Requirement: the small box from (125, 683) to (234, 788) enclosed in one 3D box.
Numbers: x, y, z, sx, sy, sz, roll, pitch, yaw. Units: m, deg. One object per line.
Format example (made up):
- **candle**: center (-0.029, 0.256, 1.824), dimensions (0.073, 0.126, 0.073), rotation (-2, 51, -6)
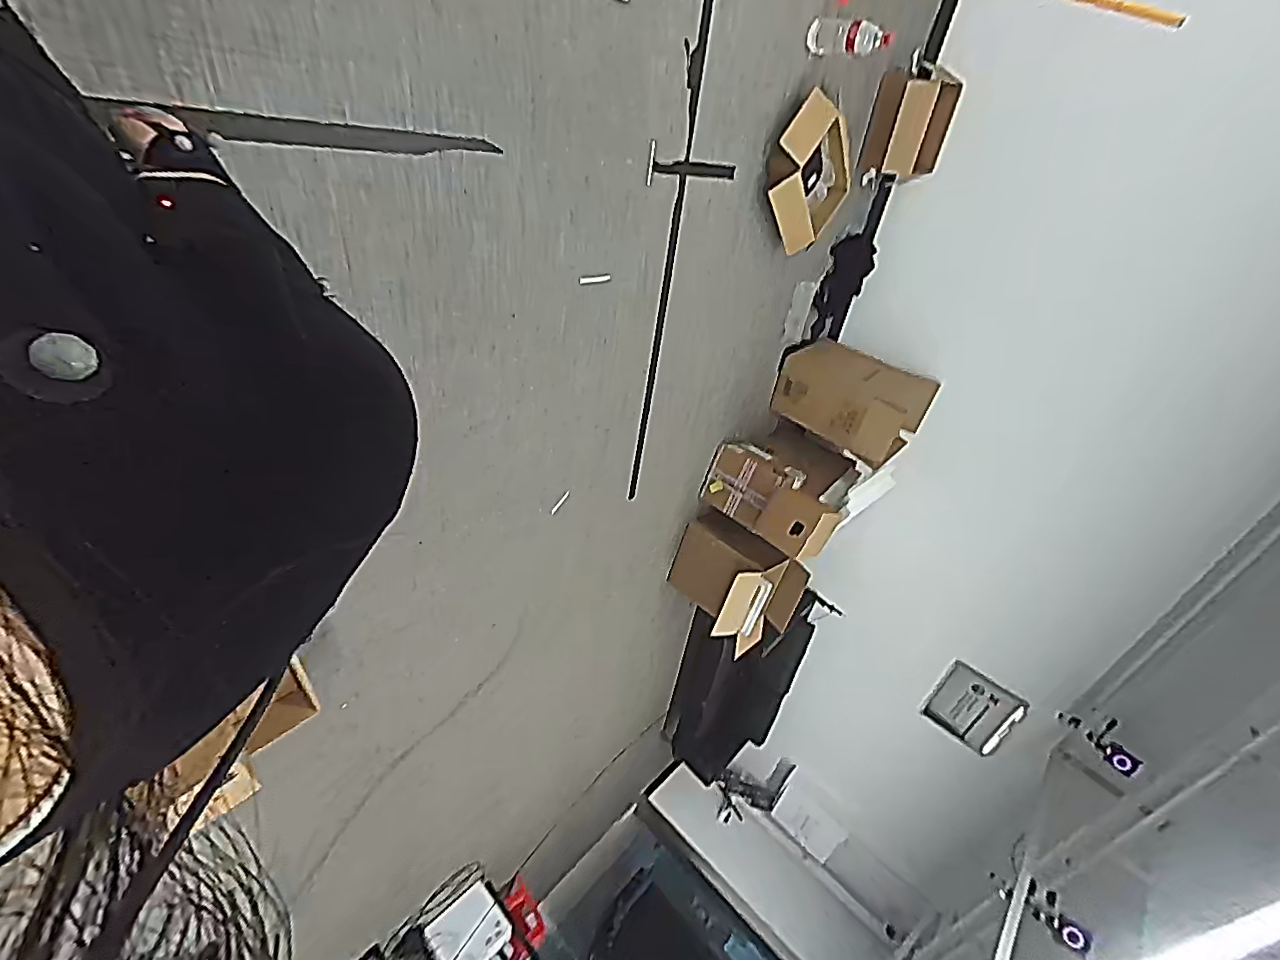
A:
- **small box**: center (-1.294, 0.712, 1.523), dimensions (0.168, 0.176, 0.179), rotation (-32, 142, -37)
